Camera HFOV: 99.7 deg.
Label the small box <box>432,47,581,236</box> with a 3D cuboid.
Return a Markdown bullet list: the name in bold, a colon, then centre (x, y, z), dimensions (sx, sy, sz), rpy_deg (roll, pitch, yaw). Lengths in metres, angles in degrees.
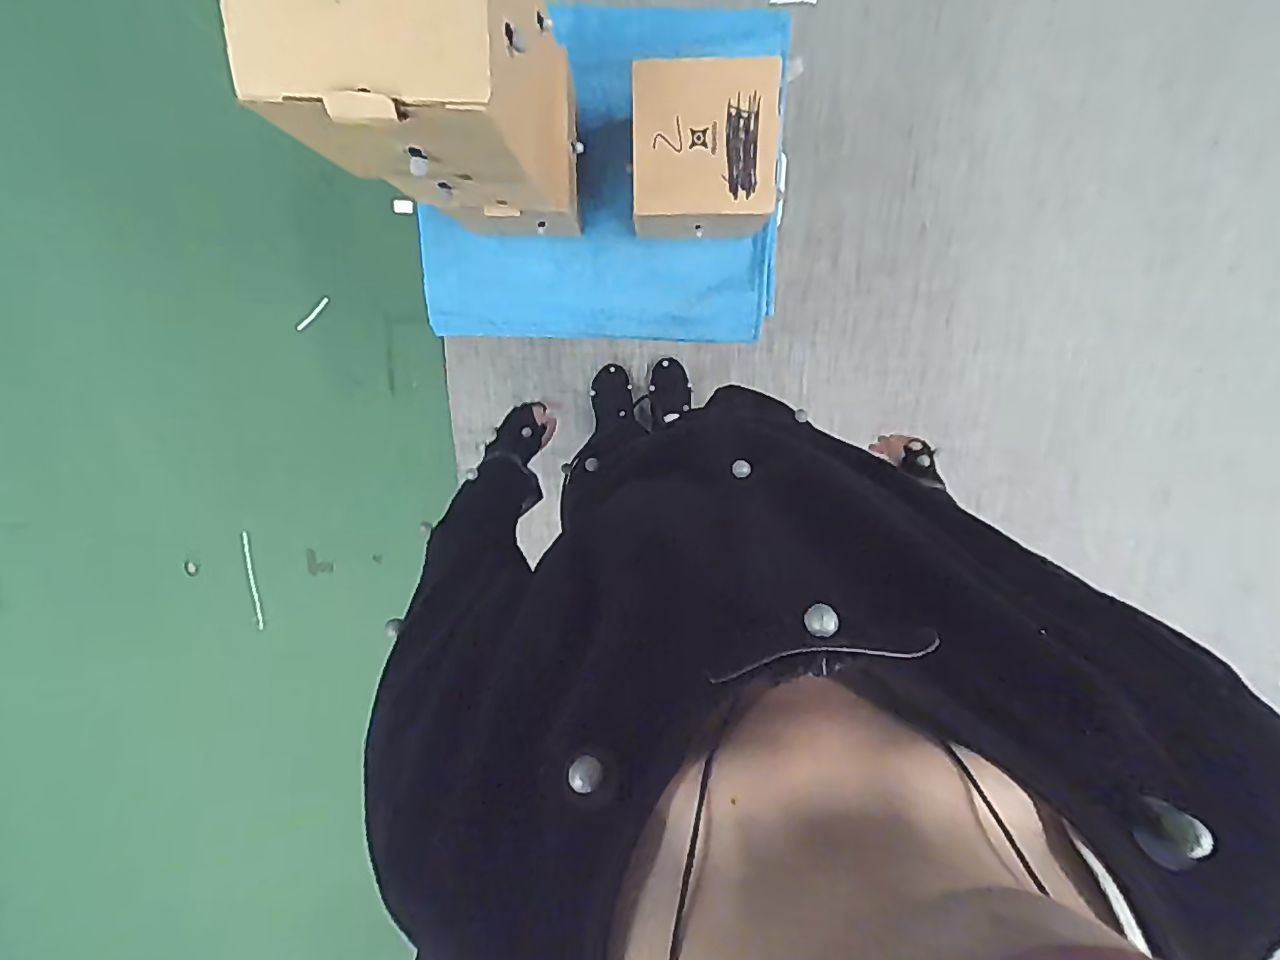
- **small box**: centre (-0.167, -0.430, 0.712), dimensions (0.168, 0.176, 0.179), rpy_deg (2, 103, -1)

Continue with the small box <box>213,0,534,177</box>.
- **small box**: centre (-0.174, -0.343, 0.398), dimensions (0.168, 0.176, 0.179), rpy_deg (3, 103, -2)

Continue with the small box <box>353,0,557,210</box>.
- **small box**: centre (-0.179, -0.392, 0.555), dimensions (0.168, 0.176, 0.179), rpy_deg (3, 103, -1)
